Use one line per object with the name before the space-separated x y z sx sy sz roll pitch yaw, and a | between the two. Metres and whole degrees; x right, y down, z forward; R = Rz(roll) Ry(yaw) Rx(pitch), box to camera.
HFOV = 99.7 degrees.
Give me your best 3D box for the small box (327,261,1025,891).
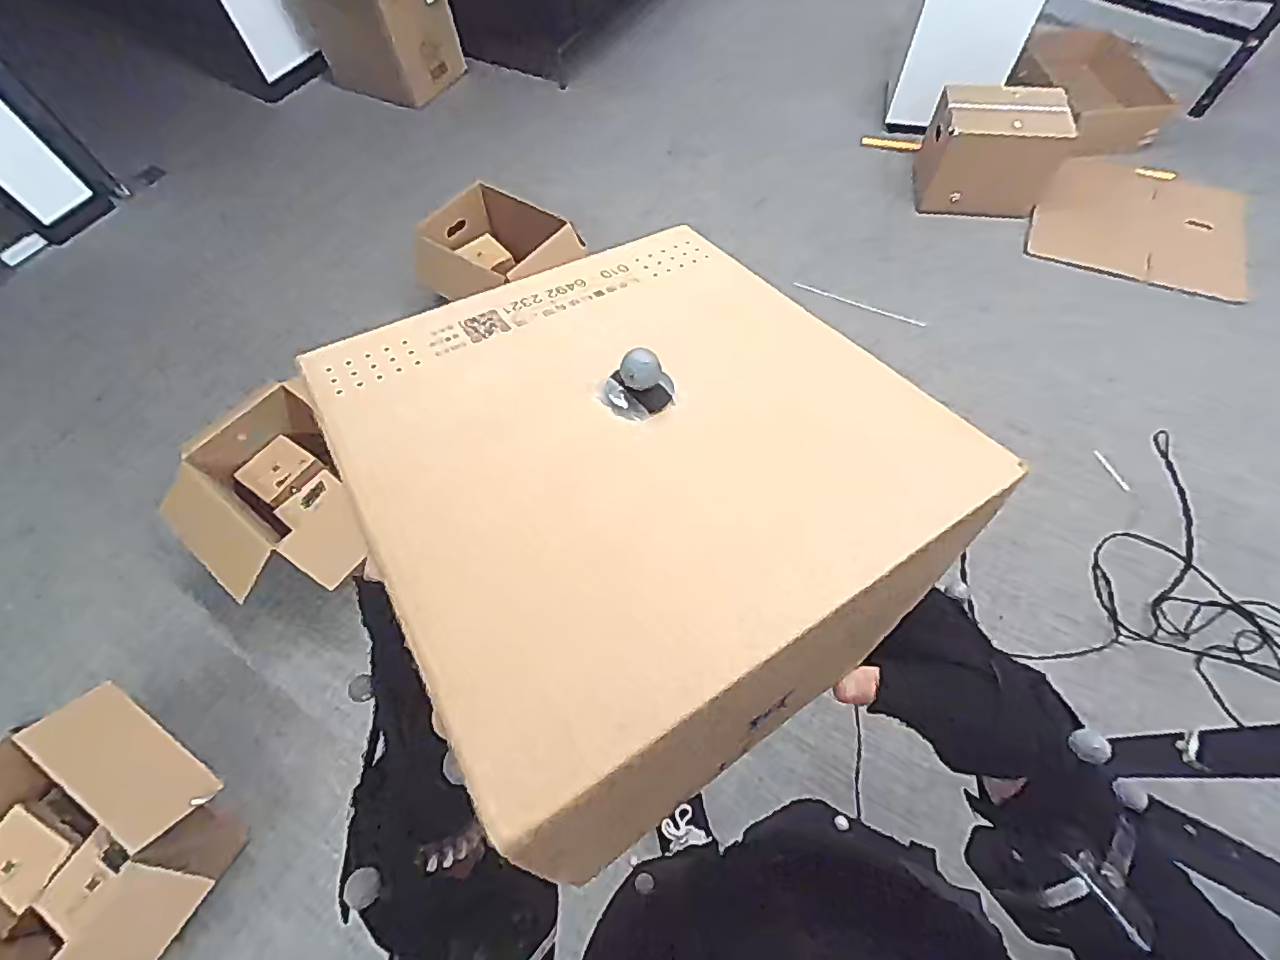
small box | -0.001 0.029 0.232 0.168 0.179 0.176 -27 56 -21
